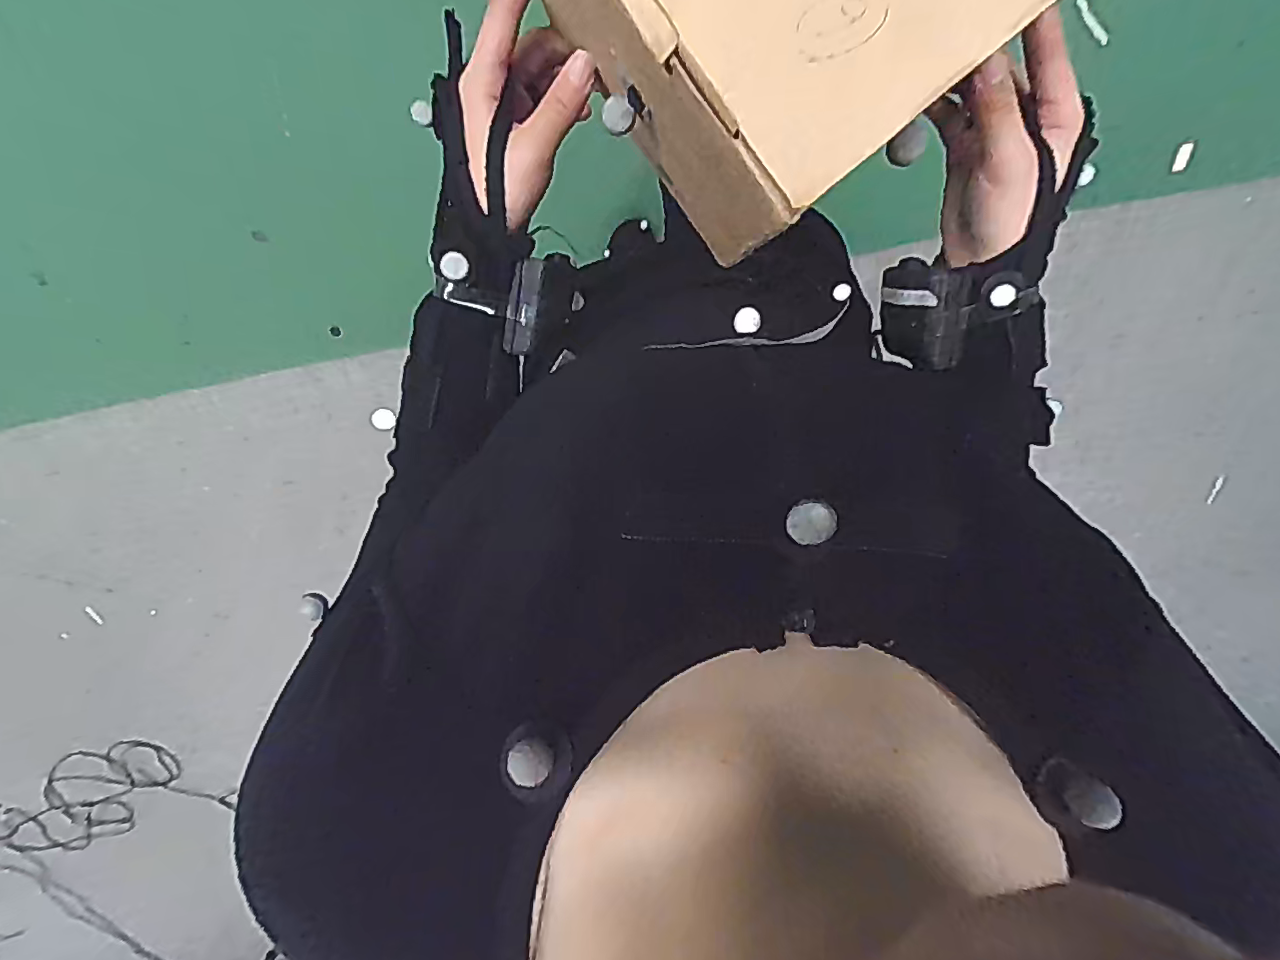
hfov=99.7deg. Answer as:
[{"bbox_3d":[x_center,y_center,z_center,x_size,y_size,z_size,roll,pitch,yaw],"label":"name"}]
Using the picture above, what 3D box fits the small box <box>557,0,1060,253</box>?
[{"bbox_3d":[0.065,-0.215,0.213,0.179,0.176,0.168,-37,102,12],"label":"small box"}]
